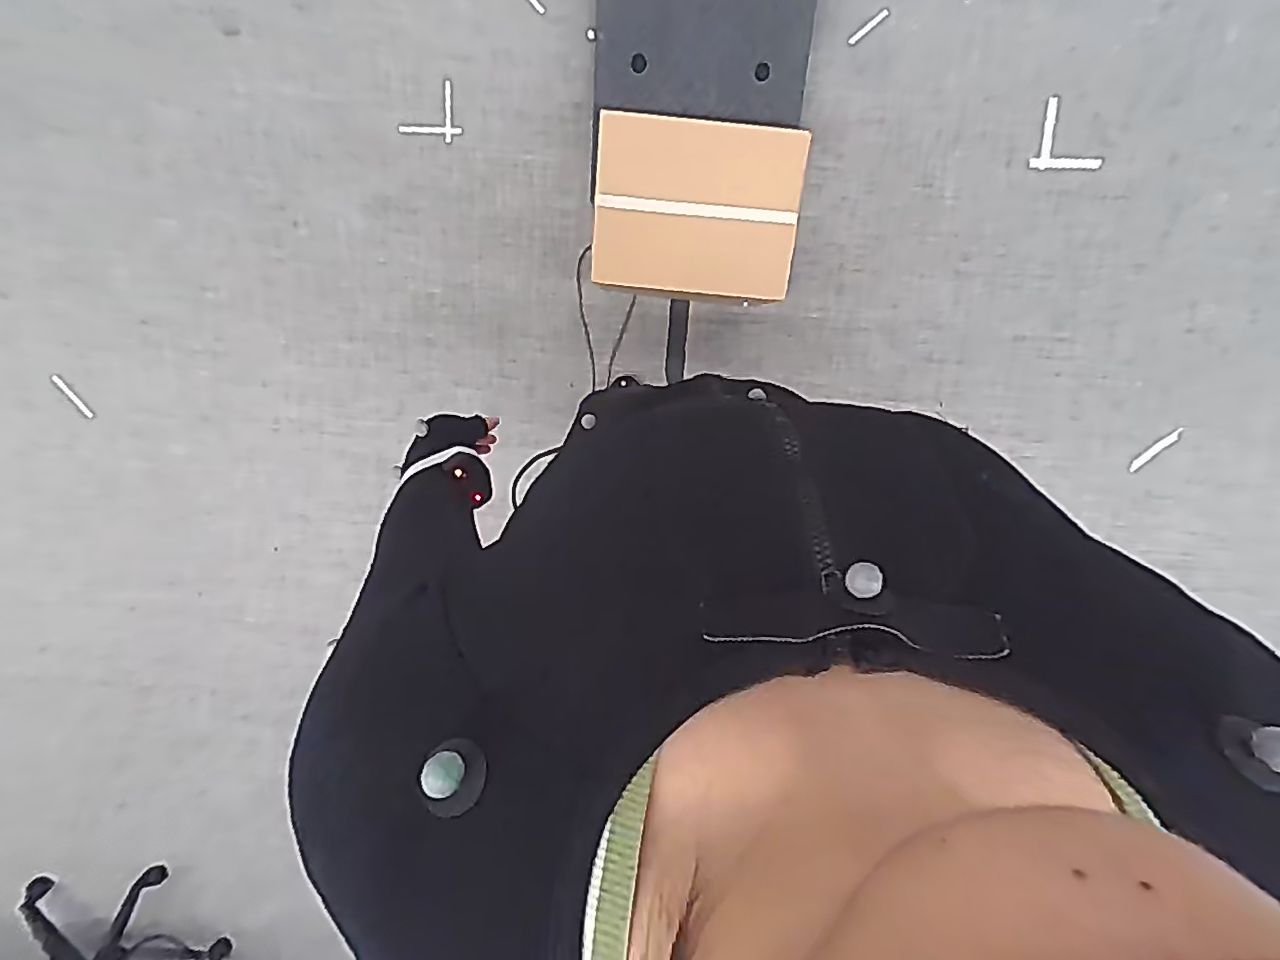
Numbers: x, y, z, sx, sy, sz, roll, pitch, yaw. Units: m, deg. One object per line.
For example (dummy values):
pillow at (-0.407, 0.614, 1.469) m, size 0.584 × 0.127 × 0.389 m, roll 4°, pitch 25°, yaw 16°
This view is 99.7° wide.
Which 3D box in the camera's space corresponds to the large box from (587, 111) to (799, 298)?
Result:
large box at (0.100, -0.587, 1.219) m, size 0.408 × 0.320 × 0.320 m, roll 5°, pitch 106°, yaw -2°

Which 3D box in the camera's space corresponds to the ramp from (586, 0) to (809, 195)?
ramp at (0.139, -1.157, 1.170) m, size 0.509 × 0.206 × 0.991 m, roll 2°, pitch 102°, yaw -2°
